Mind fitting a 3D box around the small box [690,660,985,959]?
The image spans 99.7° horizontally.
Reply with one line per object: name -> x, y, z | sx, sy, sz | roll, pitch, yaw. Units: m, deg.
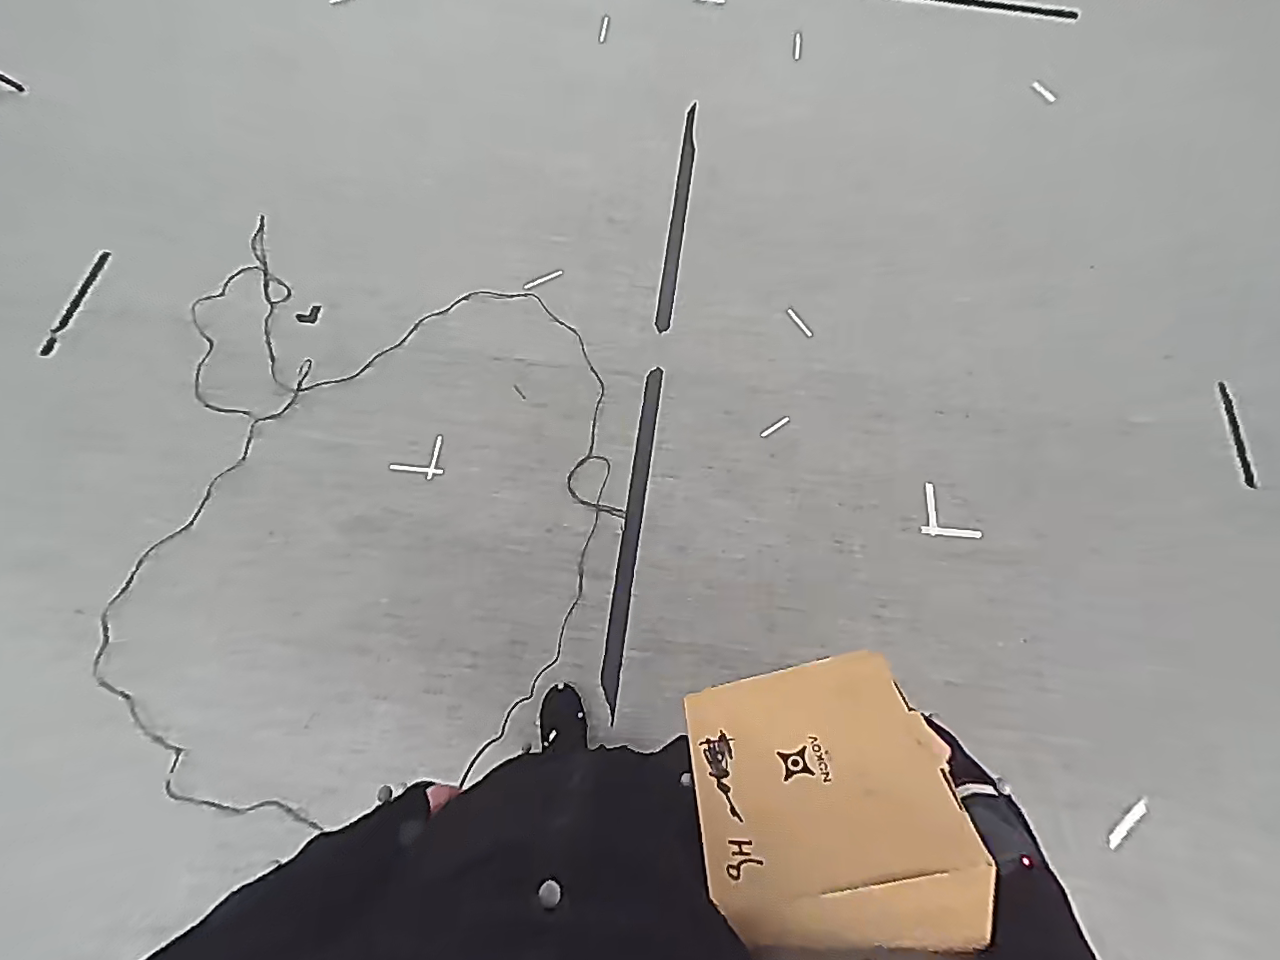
small box -> 0.153, 0.286, 0.453 | 0.179, 0.176, 0.168 | -16, 30, 7
